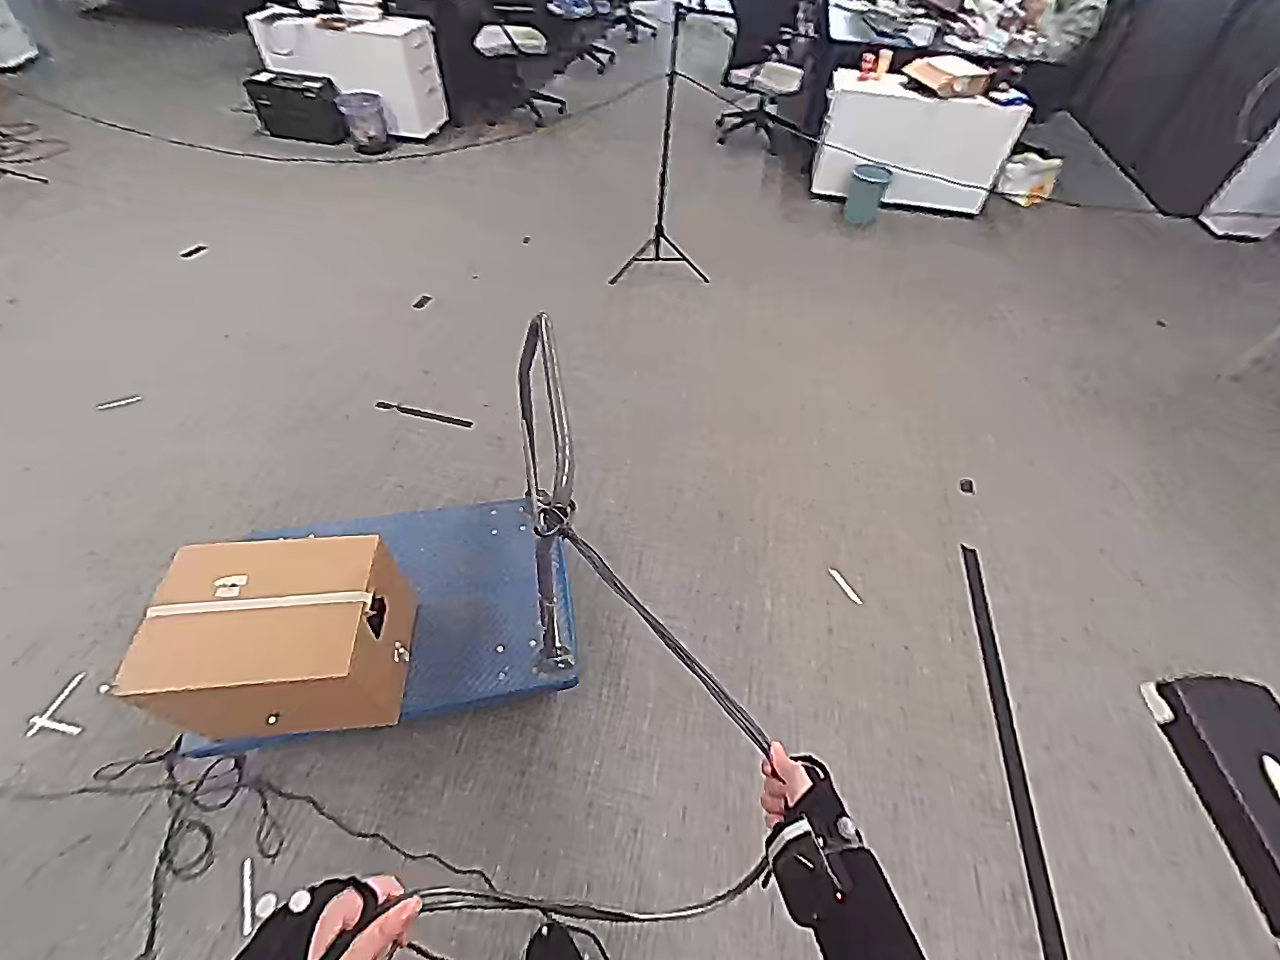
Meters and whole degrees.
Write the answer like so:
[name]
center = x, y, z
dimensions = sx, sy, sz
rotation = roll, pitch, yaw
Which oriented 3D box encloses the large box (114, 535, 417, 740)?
[large box]
center = -0.744, 0.344, 1.169
dimensions = 0.408, 0.320, 0.320
rotation = -3, 50, -6
